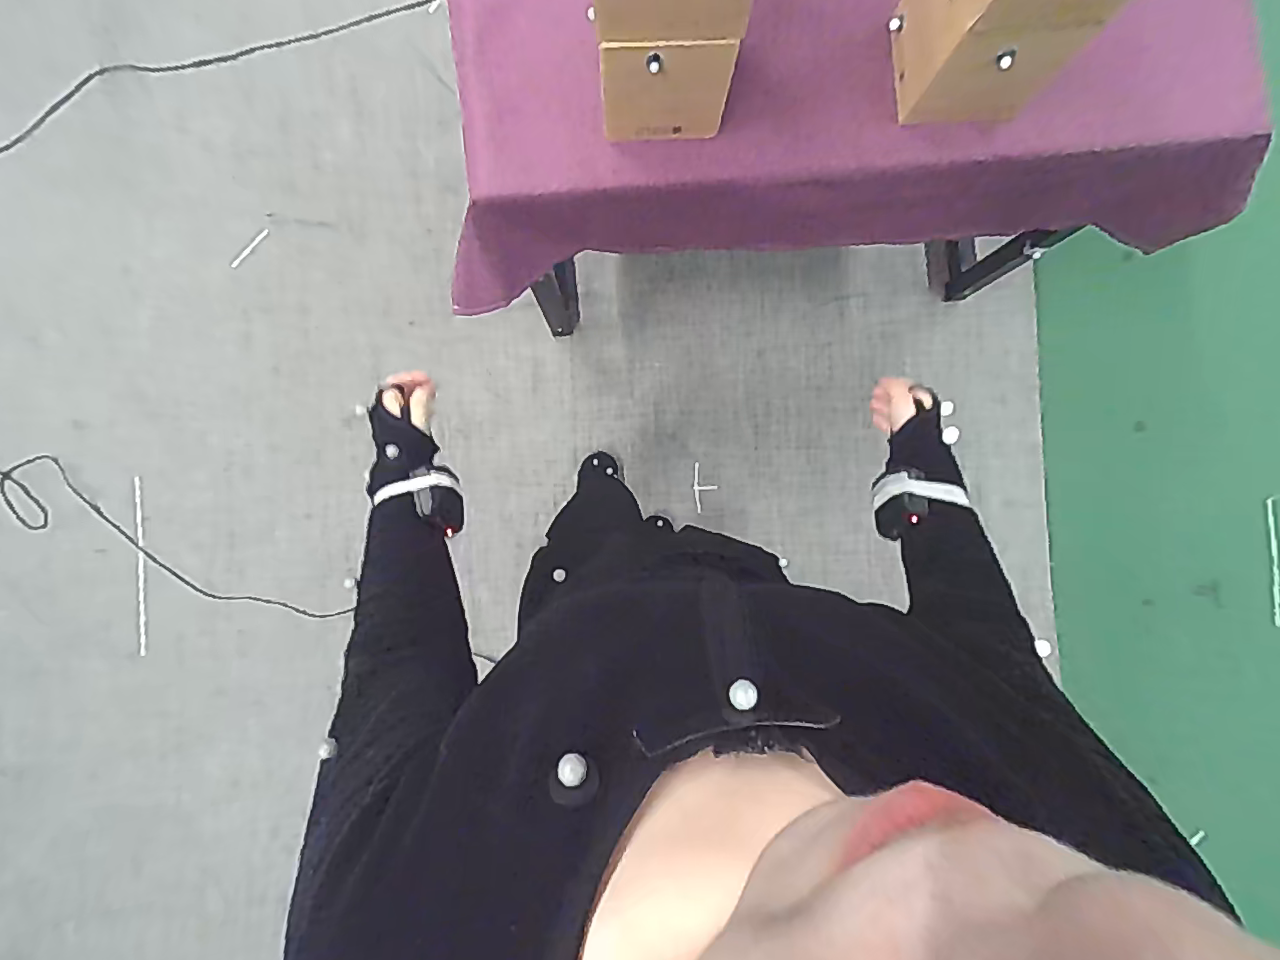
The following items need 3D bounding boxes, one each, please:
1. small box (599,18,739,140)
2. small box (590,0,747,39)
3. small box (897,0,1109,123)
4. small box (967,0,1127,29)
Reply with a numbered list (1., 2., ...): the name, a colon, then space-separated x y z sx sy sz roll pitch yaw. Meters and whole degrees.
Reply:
1. small box: 0.029 -0.587 0.712 0.168 0.176 0.179 -3 88 -1
2. small box: 0.033 -0.593 0.549 0.179 0.176 0.168 -2 88 -1
3. small box: 0.464 -0.612 0.724 0.179 0.176 0.168 -4 88 -2
4. small box: 0.472 -0.617 0.561 0.179 0.176 0.168 -4 89 -1
